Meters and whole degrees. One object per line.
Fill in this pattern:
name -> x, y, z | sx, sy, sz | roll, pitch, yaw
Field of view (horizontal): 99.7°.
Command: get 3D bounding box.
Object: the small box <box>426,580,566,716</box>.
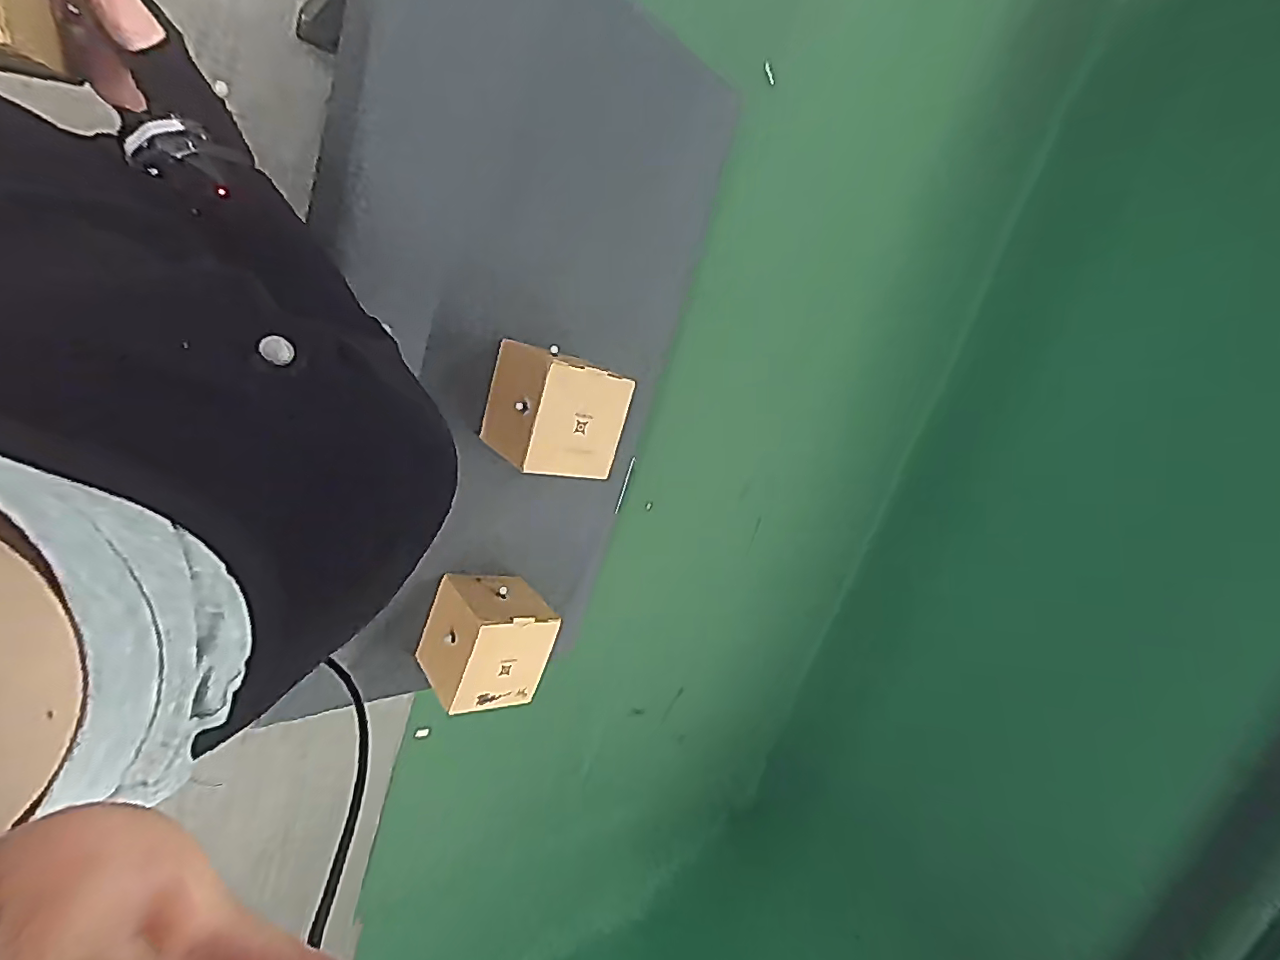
small box -> -0.270, 0.297, 0.992 | 0.168, 0.176, 0.179 | 13, 102, -44

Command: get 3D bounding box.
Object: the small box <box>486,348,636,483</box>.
small box -> -0.138, -0.110, 0.905 | 0.168, 0.176, 0.179 | 5, 109, -41
